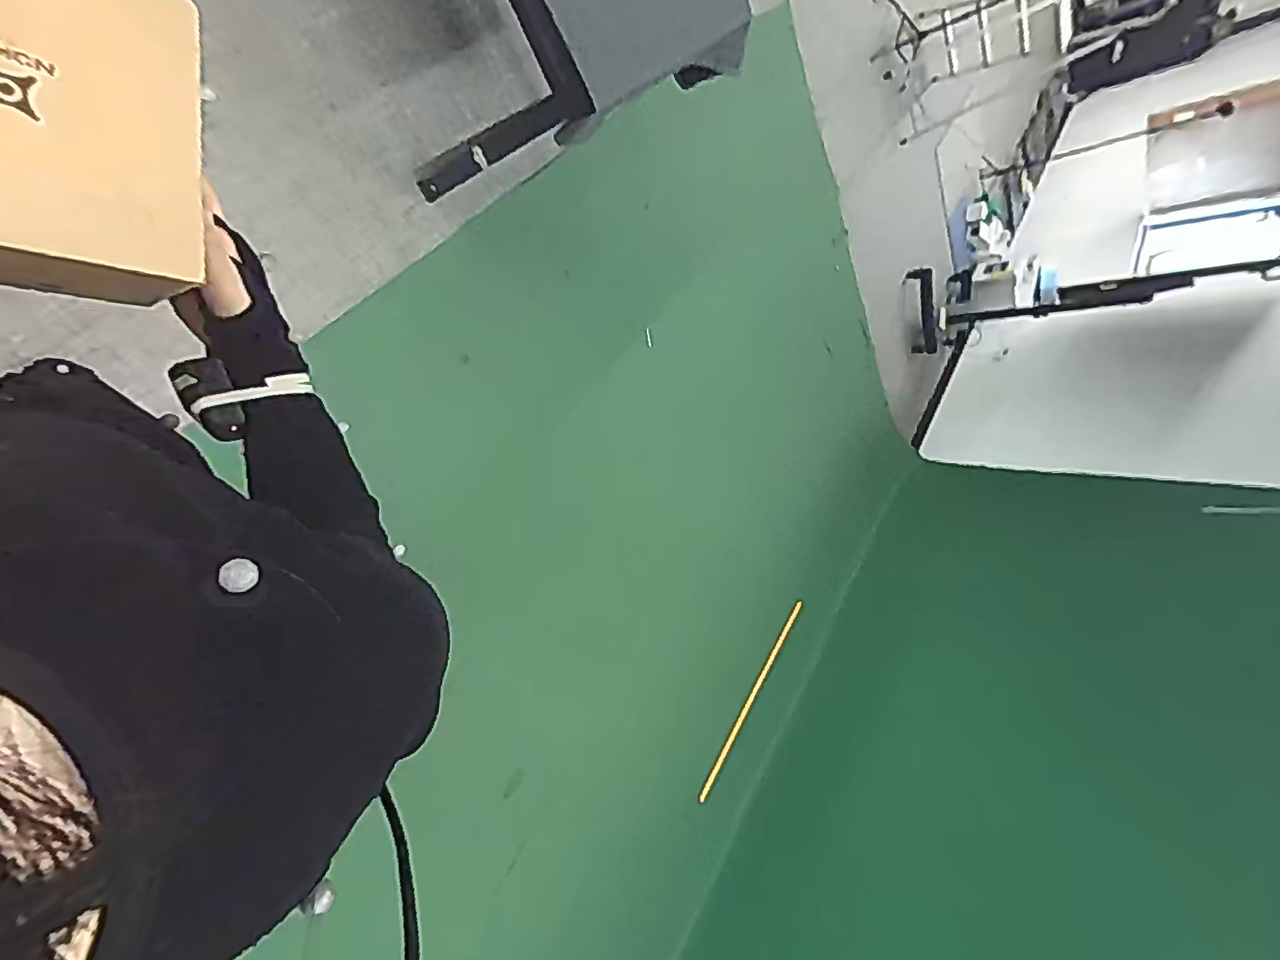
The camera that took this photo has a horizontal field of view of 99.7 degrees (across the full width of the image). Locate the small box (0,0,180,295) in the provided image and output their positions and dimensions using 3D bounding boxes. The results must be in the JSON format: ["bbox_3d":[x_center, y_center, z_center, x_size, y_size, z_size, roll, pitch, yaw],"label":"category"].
[{"bbox_3d":[-0.406,-0.222,0.330,0.168,0.176,0.179,-5,99,-52],"label":"small box"}]
